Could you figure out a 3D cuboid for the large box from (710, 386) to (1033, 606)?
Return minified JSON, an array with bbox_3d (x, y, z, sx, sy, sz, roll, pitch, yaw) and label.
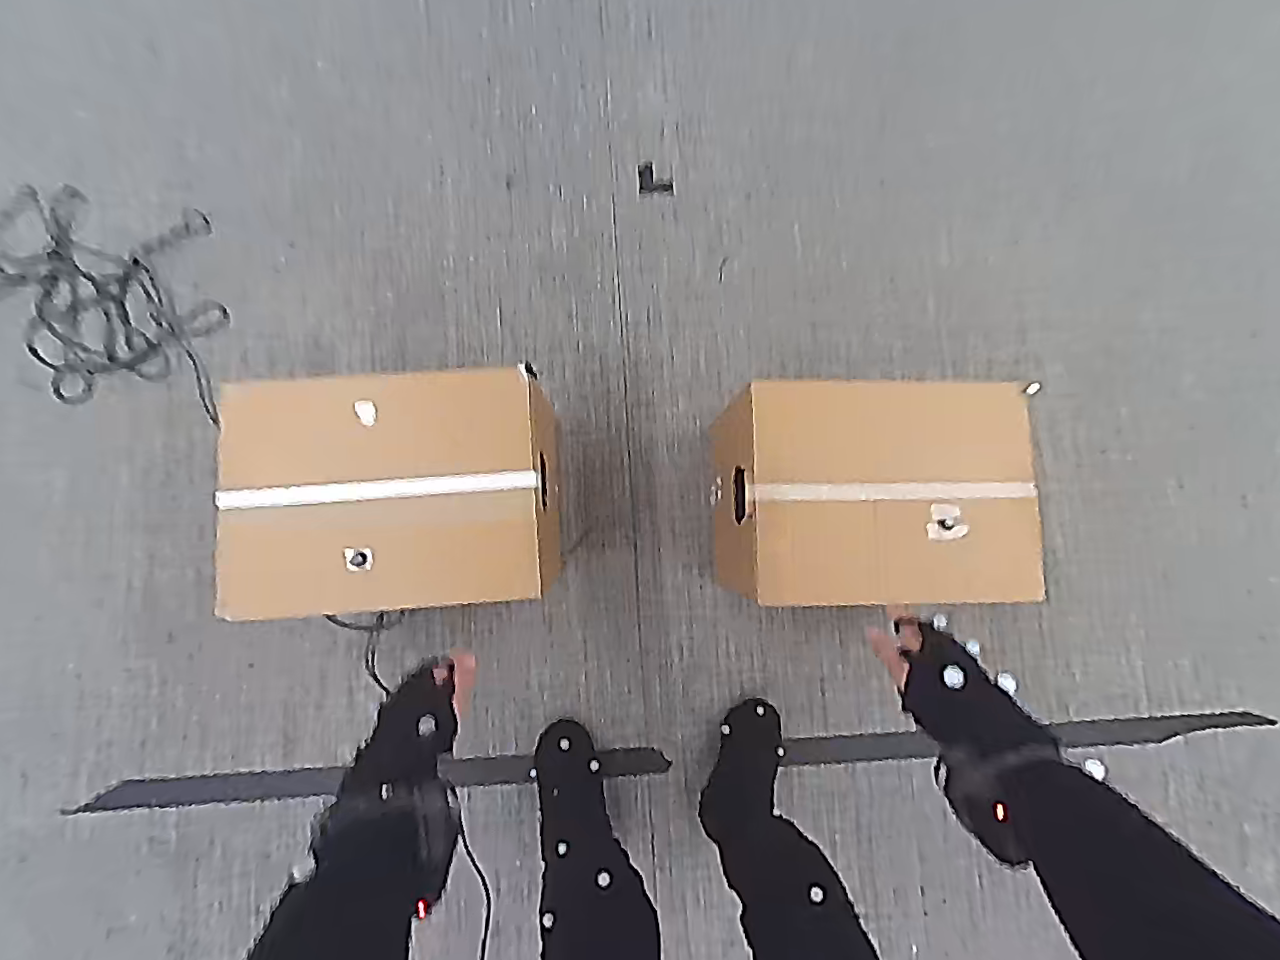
[{"bbox_3d":[0.348,0.035,0.918,0.408,0.320,0.320,0,84,-4],"label":"large box"}]
